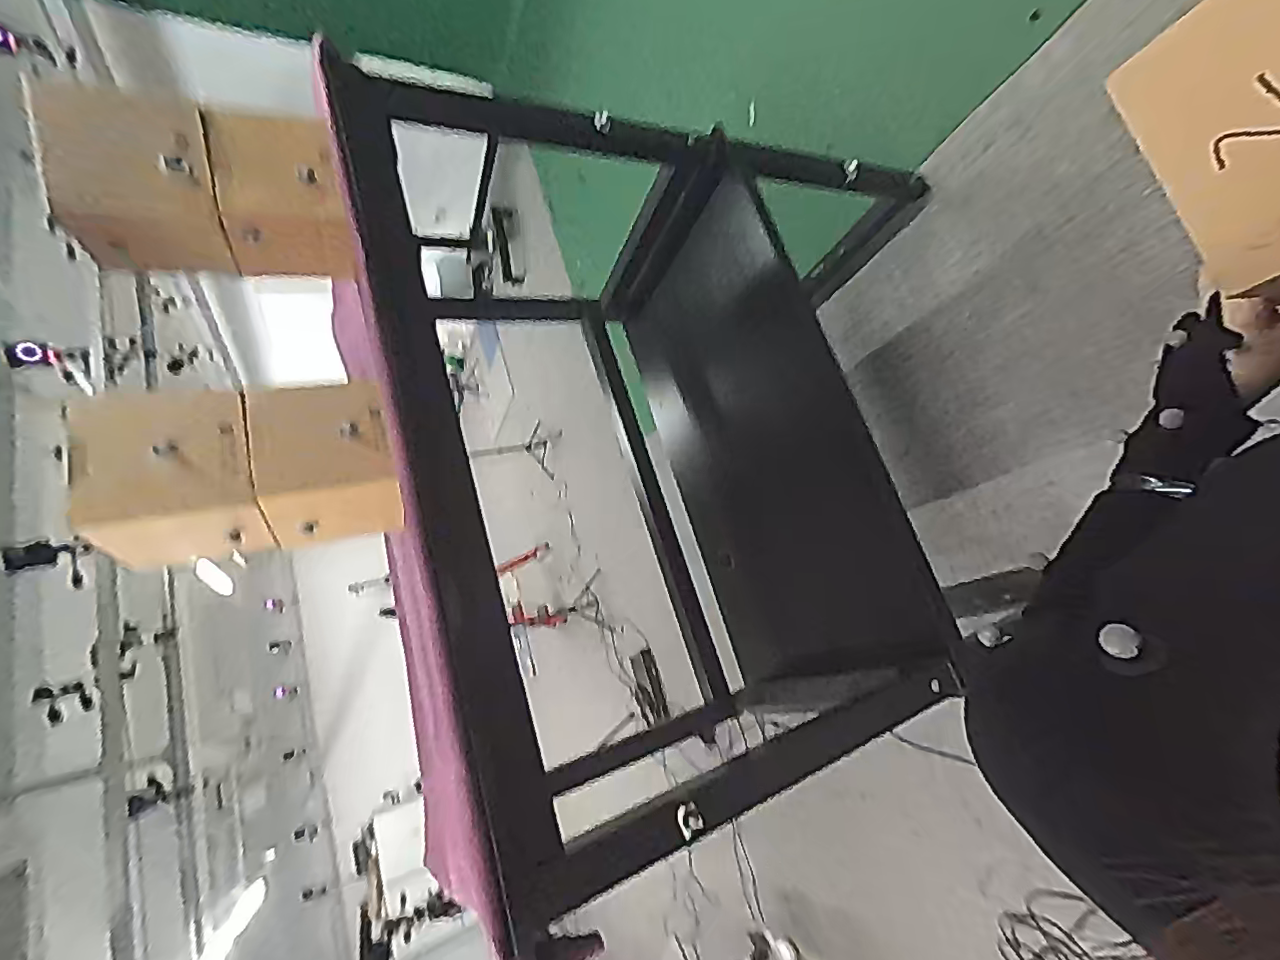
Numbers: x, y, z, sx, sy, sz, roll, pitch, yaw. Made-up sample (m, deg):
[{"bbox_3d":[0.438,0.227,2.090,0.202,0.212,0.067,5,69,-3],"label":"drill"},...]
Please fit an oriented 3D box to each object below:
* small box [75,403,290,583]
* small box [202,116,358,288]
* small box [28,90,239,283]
[{"bbox_3d":[-0.573,0.015,0.699,0.179,0.176,0.168,-46,60,56],"label":"small box"},{"bbox_3d":[-0.540,-0.411,0.834,0.179,0.176,0.168,-23,80,59],"label":"small box"},{"bbox_3d":[-0.676,-0.386,0.748,0.179,0.176,0.168,-16,87,59],"label":"small box"}]
